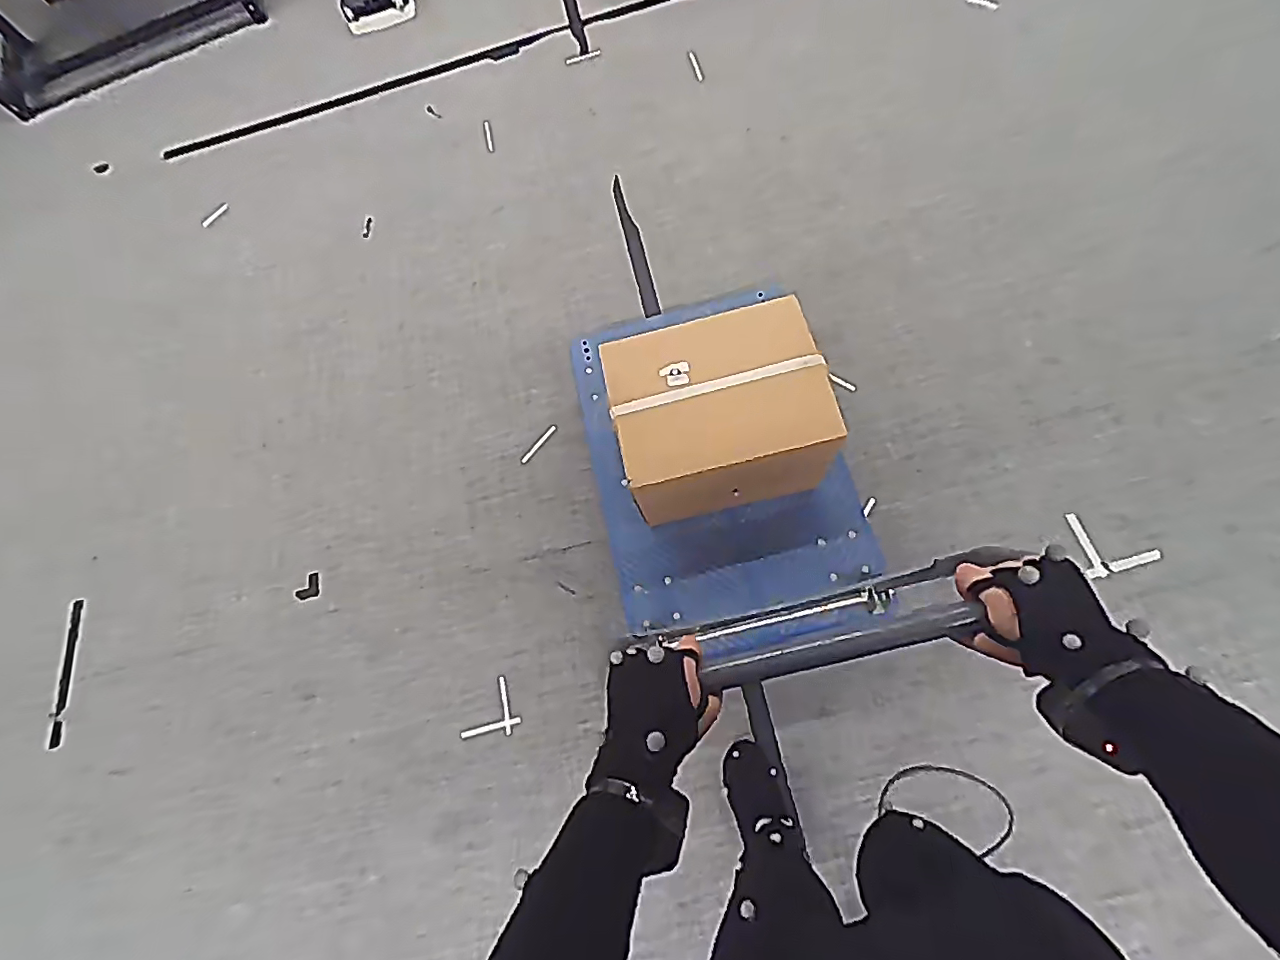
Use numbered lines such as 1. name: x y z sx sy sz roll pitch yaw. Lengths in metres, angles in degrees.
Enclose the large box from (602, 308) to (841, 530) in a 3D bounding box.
1. large box: 0.167 -0.112 1.186 0.408 0.320 0.320 -15 70 4
